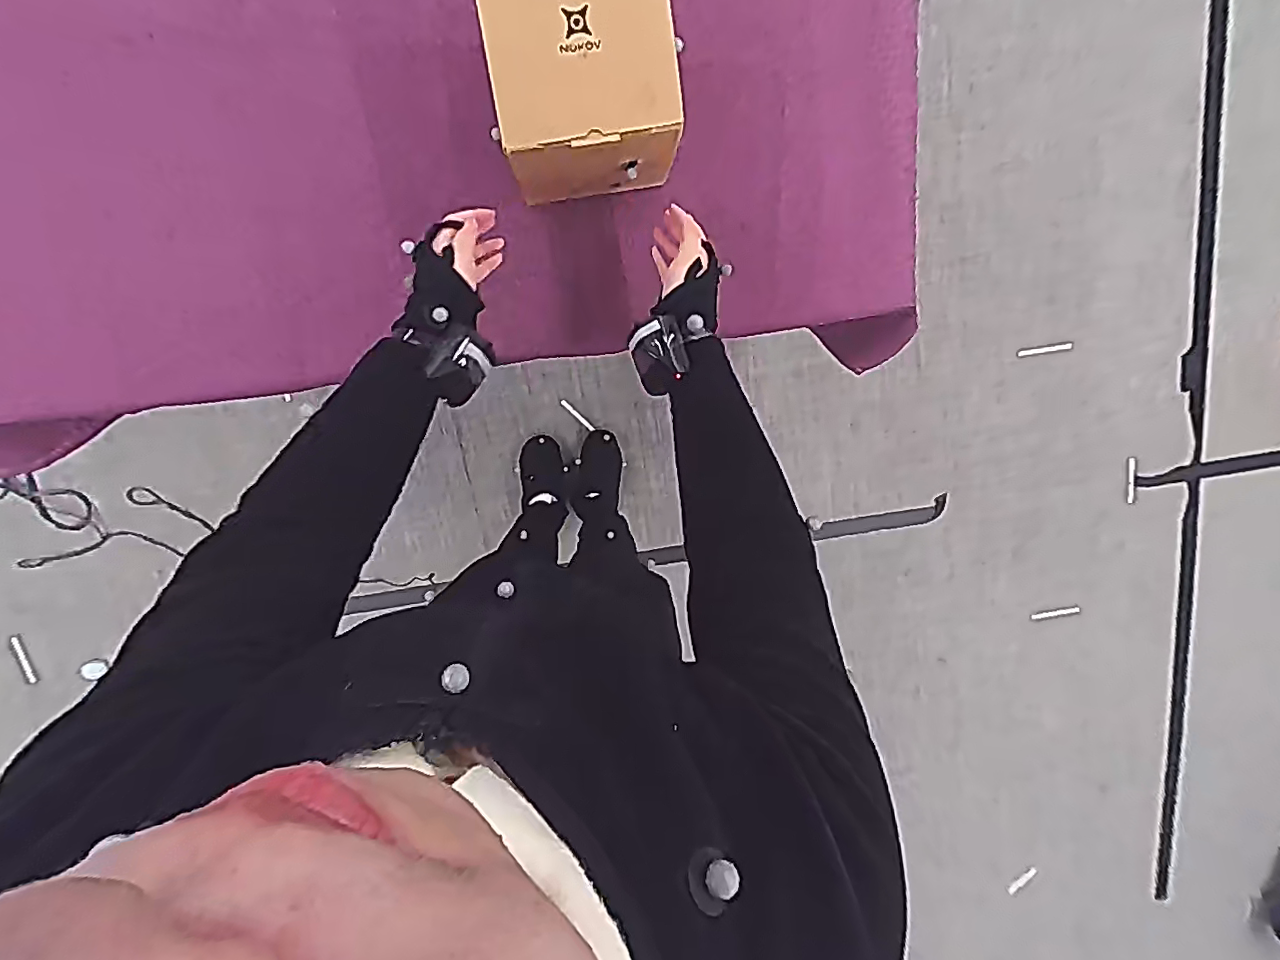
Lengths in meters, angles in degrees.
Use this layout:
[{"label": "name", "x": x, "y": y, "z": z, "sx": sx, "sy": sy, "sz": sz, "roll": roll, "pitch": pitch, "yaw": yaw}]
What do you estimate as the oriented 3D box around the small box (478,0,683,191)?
[{"label": "small box", "x": -0.057, "y": -0.406, "z": 0.538, "sx": 0.168, "sy": 0.176, "sz": 0.179, "roll": -9, "pitch": 103, "yaw": -3}]
